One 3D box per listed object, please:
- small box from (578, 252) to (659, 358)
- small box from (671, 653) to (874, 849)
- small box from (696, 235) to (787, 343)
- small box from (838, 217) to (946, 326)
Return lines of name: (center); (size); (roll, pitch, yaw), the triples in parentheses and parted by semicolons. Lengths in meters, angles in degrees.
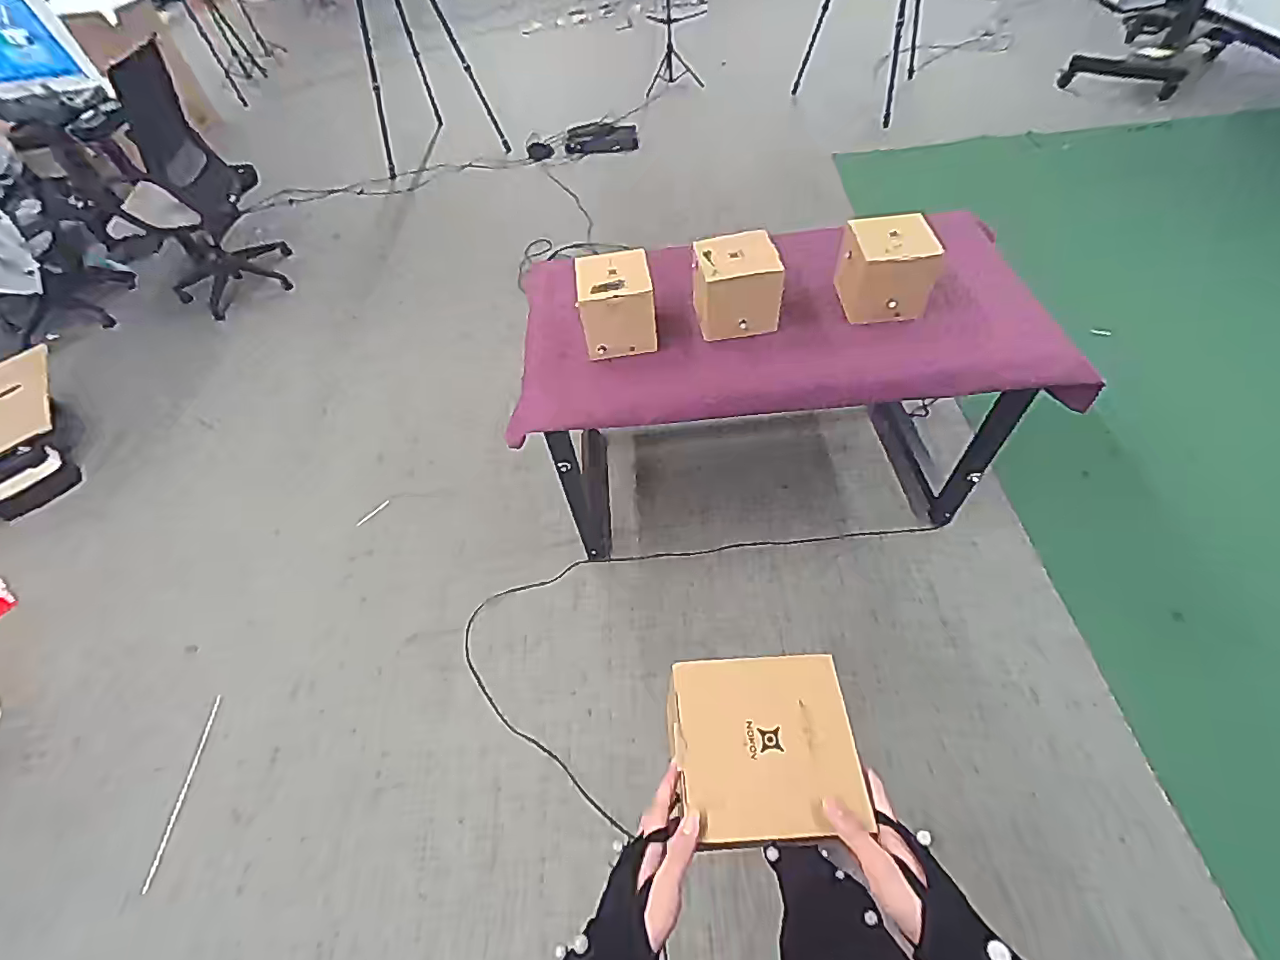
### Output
small box: (-0.049, -0.405, 1.277); (0.168, 0.176, 0.179); (-8, 52, 0)
small box: (0.126, 0.304, 0.599); (0.179, 0.176, 0.168); (-2, 53, -1)
small box: (0.231, -0.447, 1.276); (0.179, 0.176, 0.168); (-8, 53, 0)
small box: (0.574, -0.483, 1.262); (0.168, 0.176, 0.179); (-4, 53, 5)
